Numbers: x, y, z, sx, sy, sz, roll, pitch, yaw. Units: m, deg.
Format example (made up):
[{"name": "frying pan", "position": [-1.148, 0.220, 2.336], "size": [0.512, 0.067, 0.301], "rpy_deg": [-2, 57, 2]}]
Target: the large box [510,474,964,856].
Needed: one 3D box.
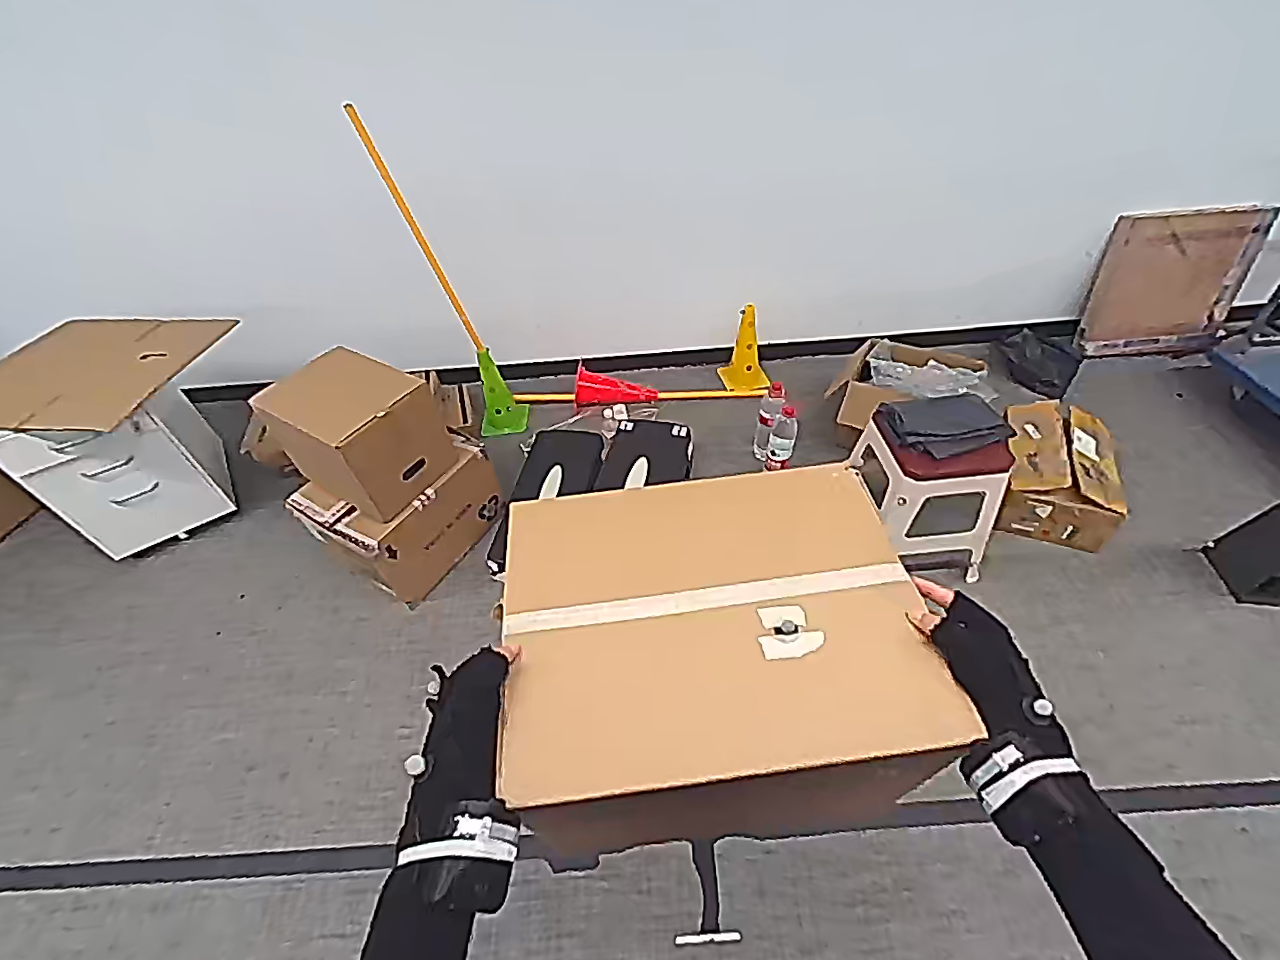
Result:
[{"name": "large box", "position": [0.074, 0.229, 0.664], "size": [0.408, 0.320, 0.320], "rpy_deg": [-7, 50, -2]}]
